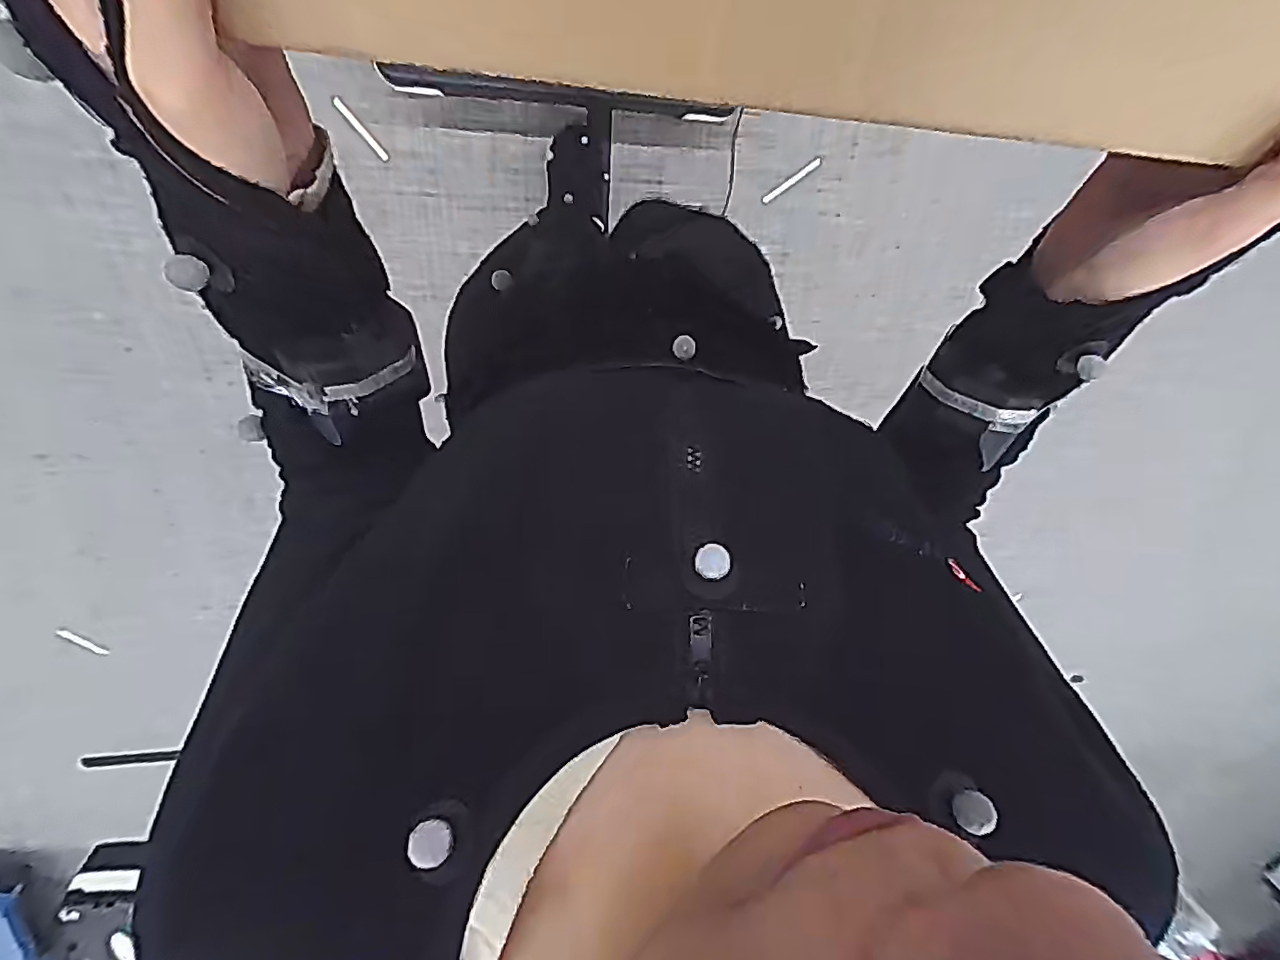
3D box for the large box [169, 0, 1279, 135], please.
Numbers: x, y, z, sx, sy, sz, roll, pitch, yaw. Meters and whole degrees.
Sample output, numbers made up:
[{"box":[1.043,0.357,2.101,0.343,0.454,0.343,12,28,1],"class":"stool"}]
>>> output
[{"box":[0.065,-0.341,0.145,0.408,0.320,0.320,1,146,-8],"class":"large box"}]
